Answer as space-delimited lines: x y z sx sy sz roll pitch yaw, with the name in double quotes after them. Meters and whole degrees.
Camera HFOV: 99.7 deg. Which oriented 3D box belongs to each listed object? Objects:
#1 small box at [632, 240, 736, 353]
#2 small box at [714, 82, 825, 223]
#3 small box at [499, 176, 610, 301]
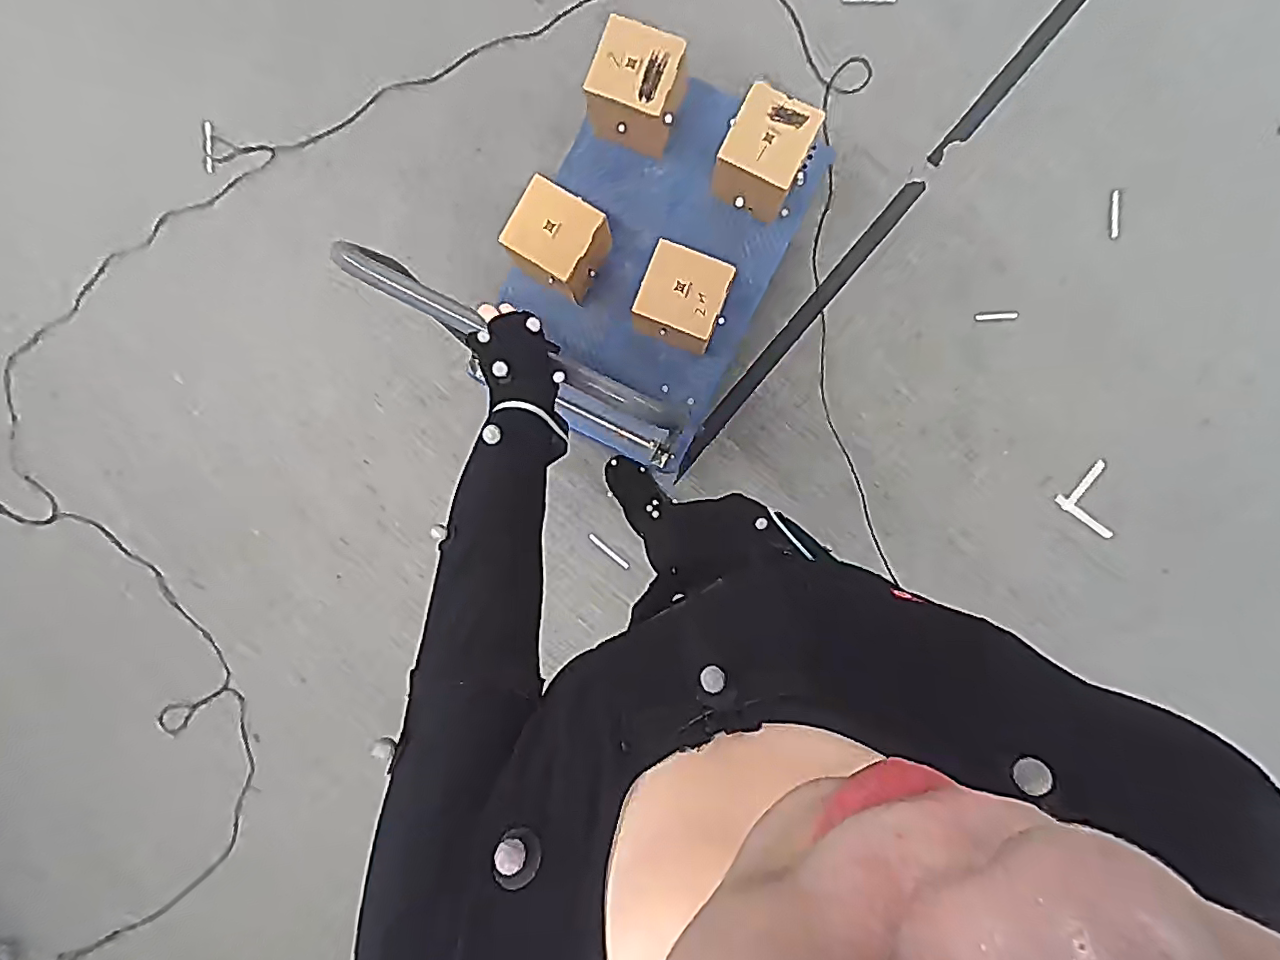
0.095 -0.400 1.213 0.179 0.176 0.168 22 93 2 "small box"
0.275 -0.713 1.196 0.168 0.176 0.179 27 94 2 "small box"
-0.184 -0.534 1.223 0.179 0.176 0.168 31 92 0 "small box"
